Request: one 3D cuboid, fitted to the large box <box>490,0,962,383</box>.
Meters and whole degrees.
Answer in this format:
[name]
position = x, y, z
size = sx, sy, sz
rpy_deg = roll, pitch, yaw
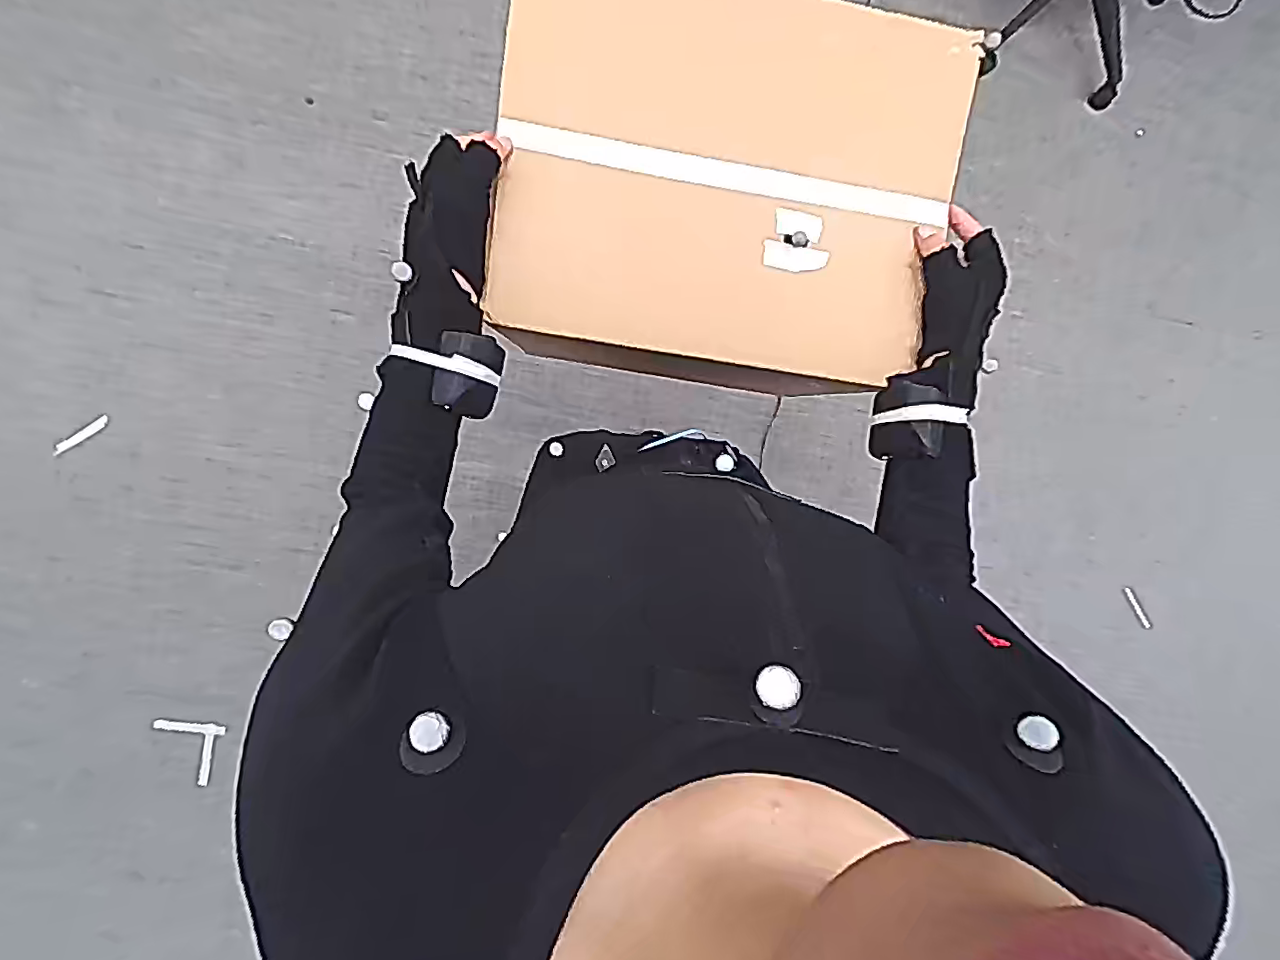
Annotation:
[large box]
position = 0.064, -0.298, 0.635
size = 0.408, 0.320, 0.320
rpy_deg = 8, 99, -6
